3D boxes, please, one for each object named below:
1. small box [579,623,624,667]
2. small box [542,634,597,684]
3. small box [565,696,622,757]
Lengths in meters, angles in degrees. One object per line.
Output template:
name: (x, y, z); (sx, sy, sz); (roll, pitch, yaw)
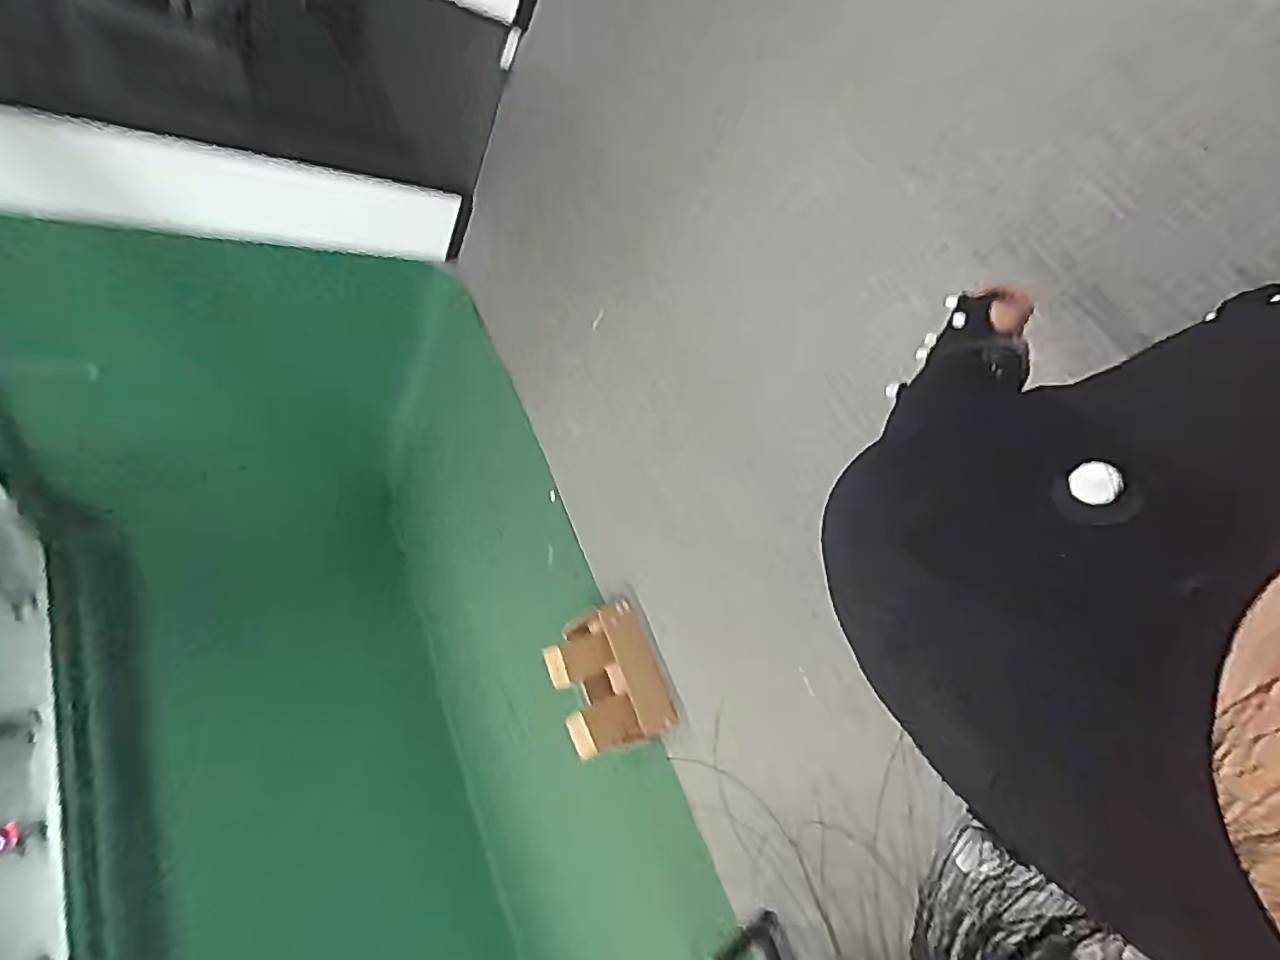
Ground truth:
small box: (-0.206, 0.810, 2.627); (0.179, 0.176, 0.168); (-32, 74, 46)
small box: (-0.328, 0.829, 2.518); (0.168, 0.176, 0.179); (-32, 74, 48)
small box: (-0.206, 1.103, 2.427); (0.168, 0.176, 0.179); (-52, 57, 40)
